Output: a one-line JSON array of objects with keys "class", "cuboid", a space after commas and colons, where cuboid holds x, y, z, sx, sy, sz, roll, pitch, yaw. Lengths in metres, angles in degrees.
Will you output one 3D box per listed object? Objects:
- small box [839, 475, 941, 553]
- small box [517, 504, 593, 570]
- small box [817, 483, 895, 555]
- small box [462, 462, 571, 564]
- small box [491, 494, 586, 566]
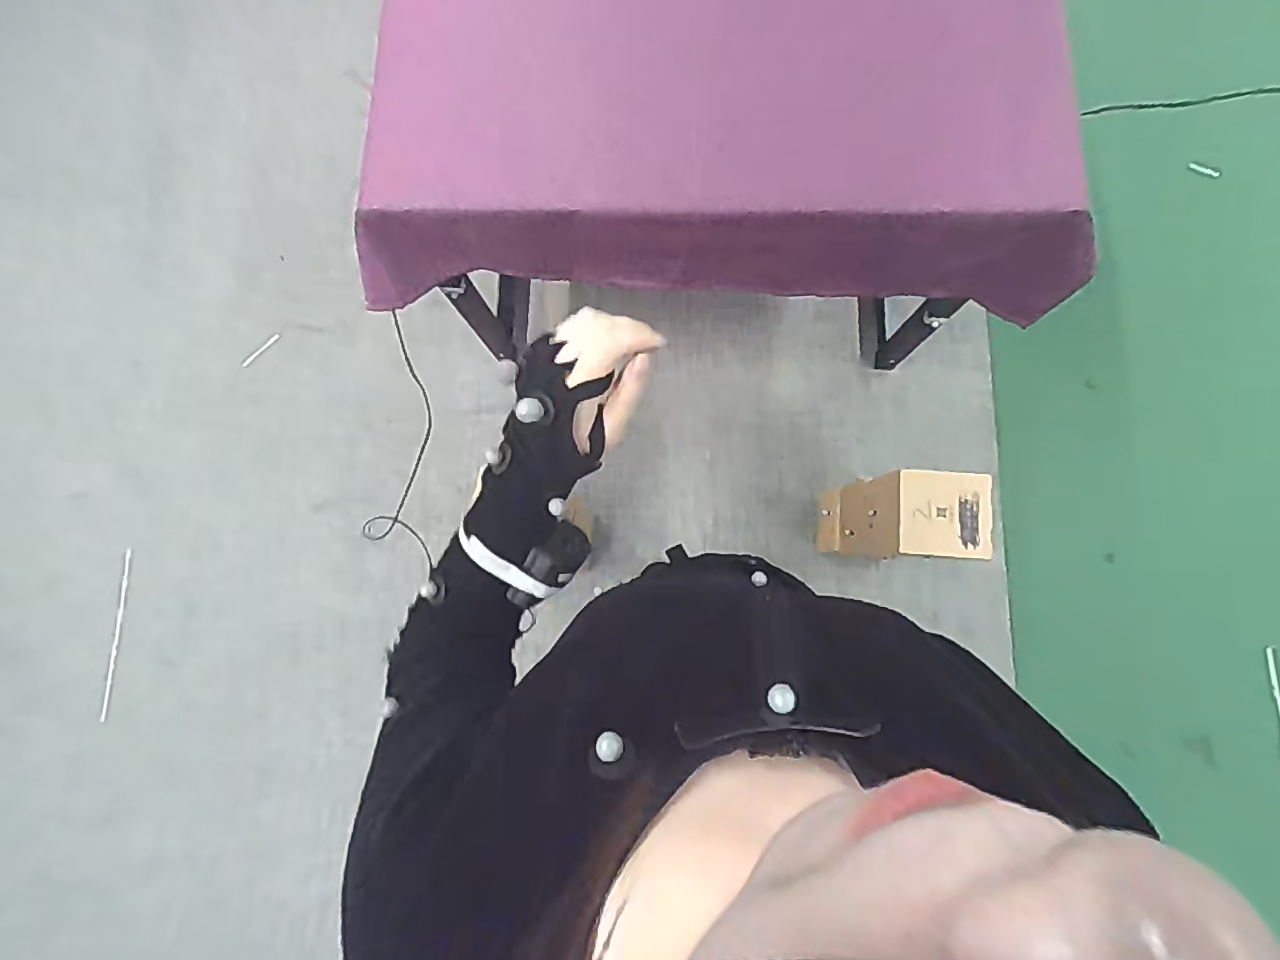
[{"class": "small box", "cuboid": [0.583, 0.085, 1.281, 0.179, 0.176, 0.168, 3, 82, 2]}, {"class": "small box", "cuboid": [-0.224, 0.151, 1.468, 0.168, 0.176, 0.179, 5, 80, 3]}, {"class": "small box", "cuboid": [0.581, 0.110, 1.442, 0.179, 0.176, 0.168, 5, 81, 3]}, {"class": "small box", "cuboid": [-0.251, 0.076, 1.148, 0.168, 0.176, 0.179, 11, 81, 5]}, {"class": "small box", "cuboid": [-0.238, 0.116, 1.307, 0.179, 0.176, 0.168, 8, 81, 3]}]
